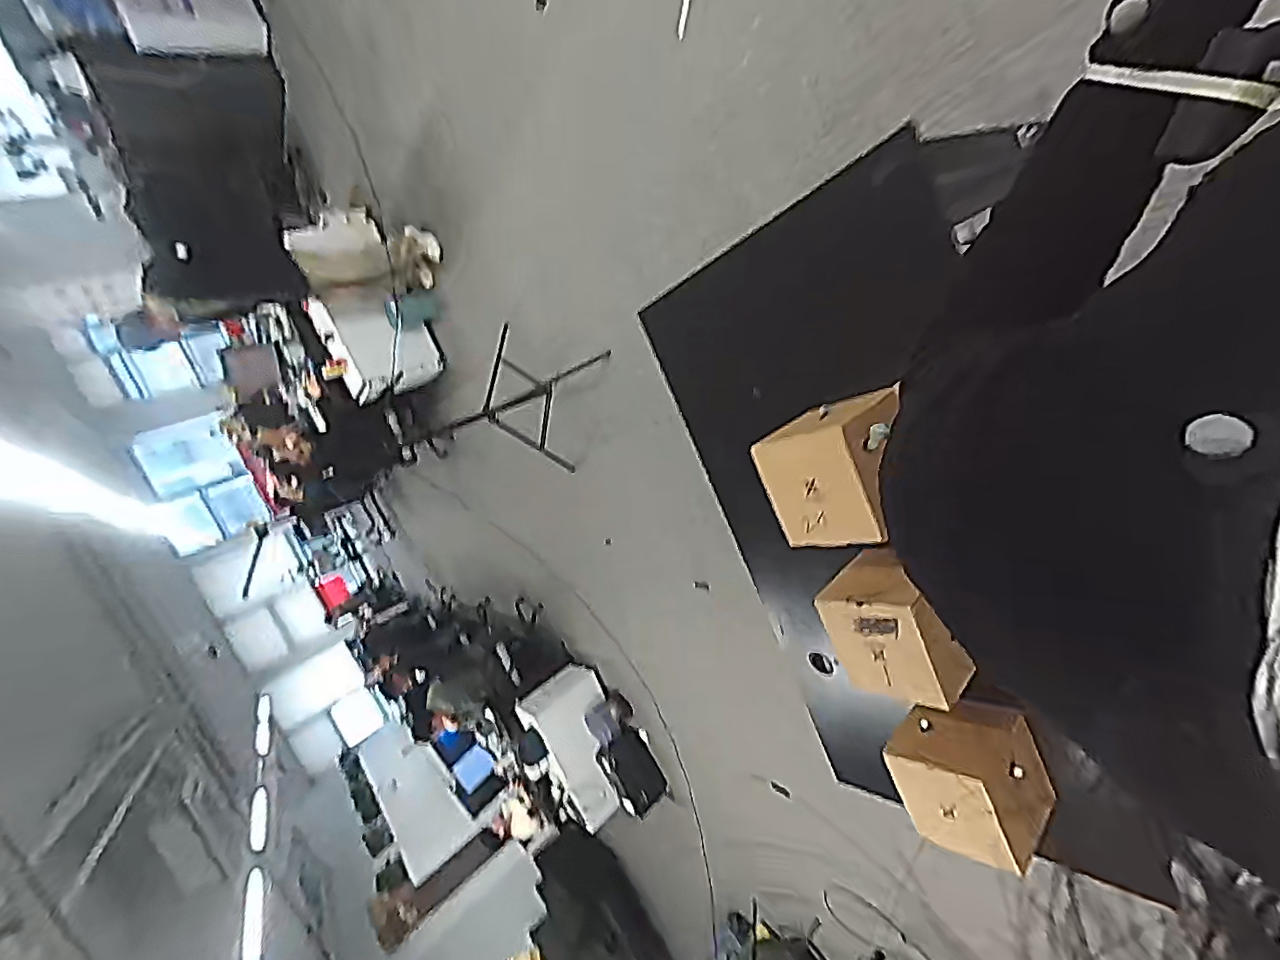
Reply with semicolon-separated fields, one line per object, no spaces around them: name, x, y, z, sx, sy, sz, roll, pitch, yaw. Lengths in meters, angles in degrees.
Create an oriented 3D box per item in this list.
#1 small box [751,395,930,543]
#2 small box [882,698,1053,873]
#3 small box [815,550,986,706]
small box;0.311;-0.020;0.837;0.168;0.176;0.179;-13;103;57
small box;0.549;0.489;0.906;0.168;0.176;0.179;-17;101;57
small box;0.422;0.224;0.874;0.168;0.176;0.179;-11;106;56
